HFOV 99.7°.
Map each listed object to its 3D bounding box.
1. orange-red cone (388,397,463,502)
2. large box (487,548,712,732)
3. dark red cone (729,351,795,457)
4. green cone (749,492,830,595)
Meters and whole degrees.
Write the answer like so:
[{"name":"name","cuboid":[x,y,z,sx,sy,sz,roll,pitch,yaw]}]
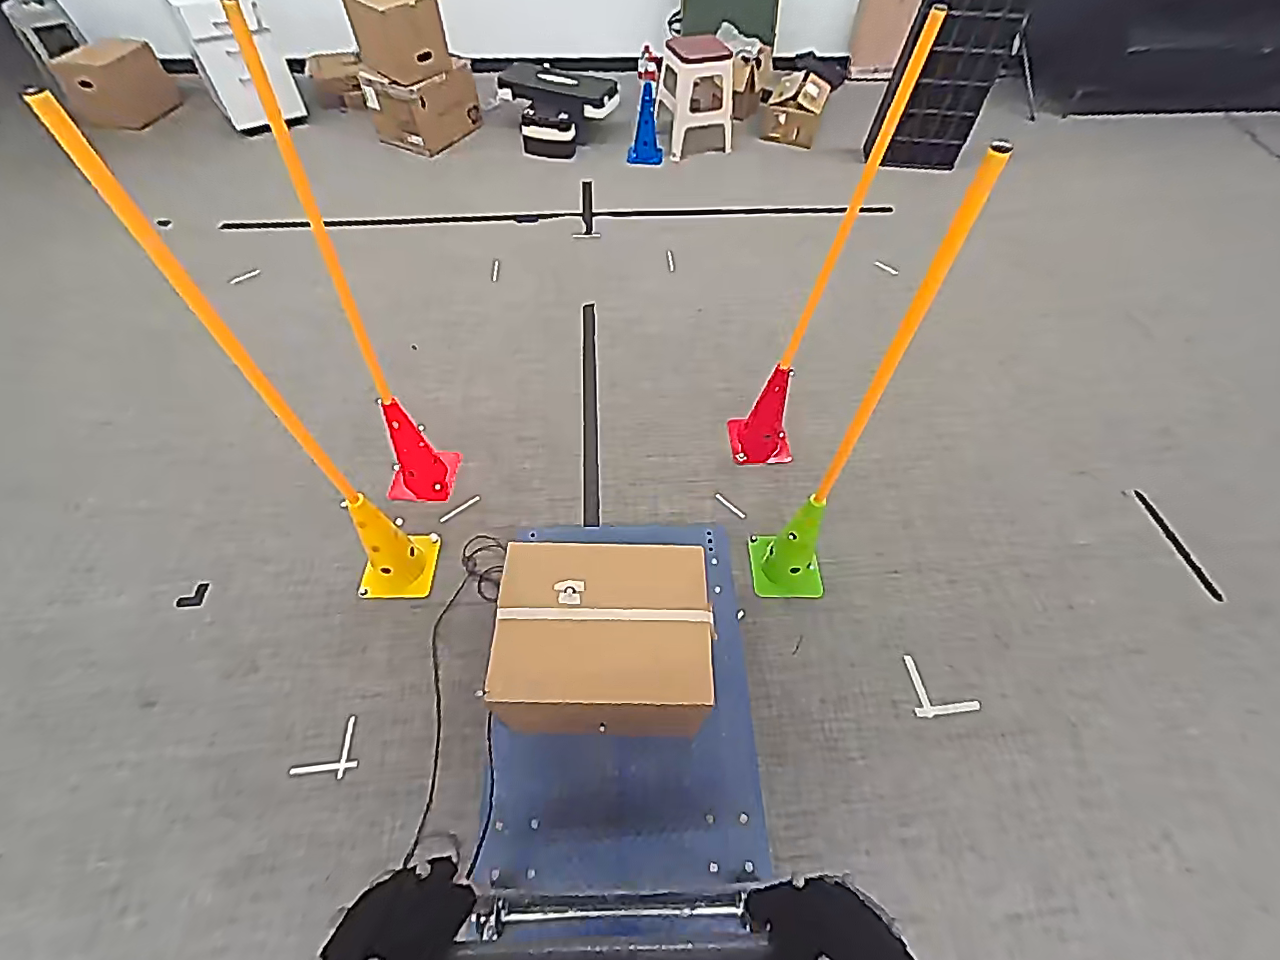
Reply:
[{"name":"orange-red cone","cuboid":[-0.695,-0.117,1.650,0.198,0.360,0.199,4,53,0]},{"name":"large box","cuboid":[-0.071,0.350,1.153,0.408,0.320,0.320,1,55,0]},{"name":"dark red cone","cuboid":[0.427,-0.252,1.750,0.201,0.394,0.202,-2,55,-5]},{"name":"green cone","cuboid":[0.440,0.153,1.483,0.202,0.368,0.200,1,54,-2]}]
